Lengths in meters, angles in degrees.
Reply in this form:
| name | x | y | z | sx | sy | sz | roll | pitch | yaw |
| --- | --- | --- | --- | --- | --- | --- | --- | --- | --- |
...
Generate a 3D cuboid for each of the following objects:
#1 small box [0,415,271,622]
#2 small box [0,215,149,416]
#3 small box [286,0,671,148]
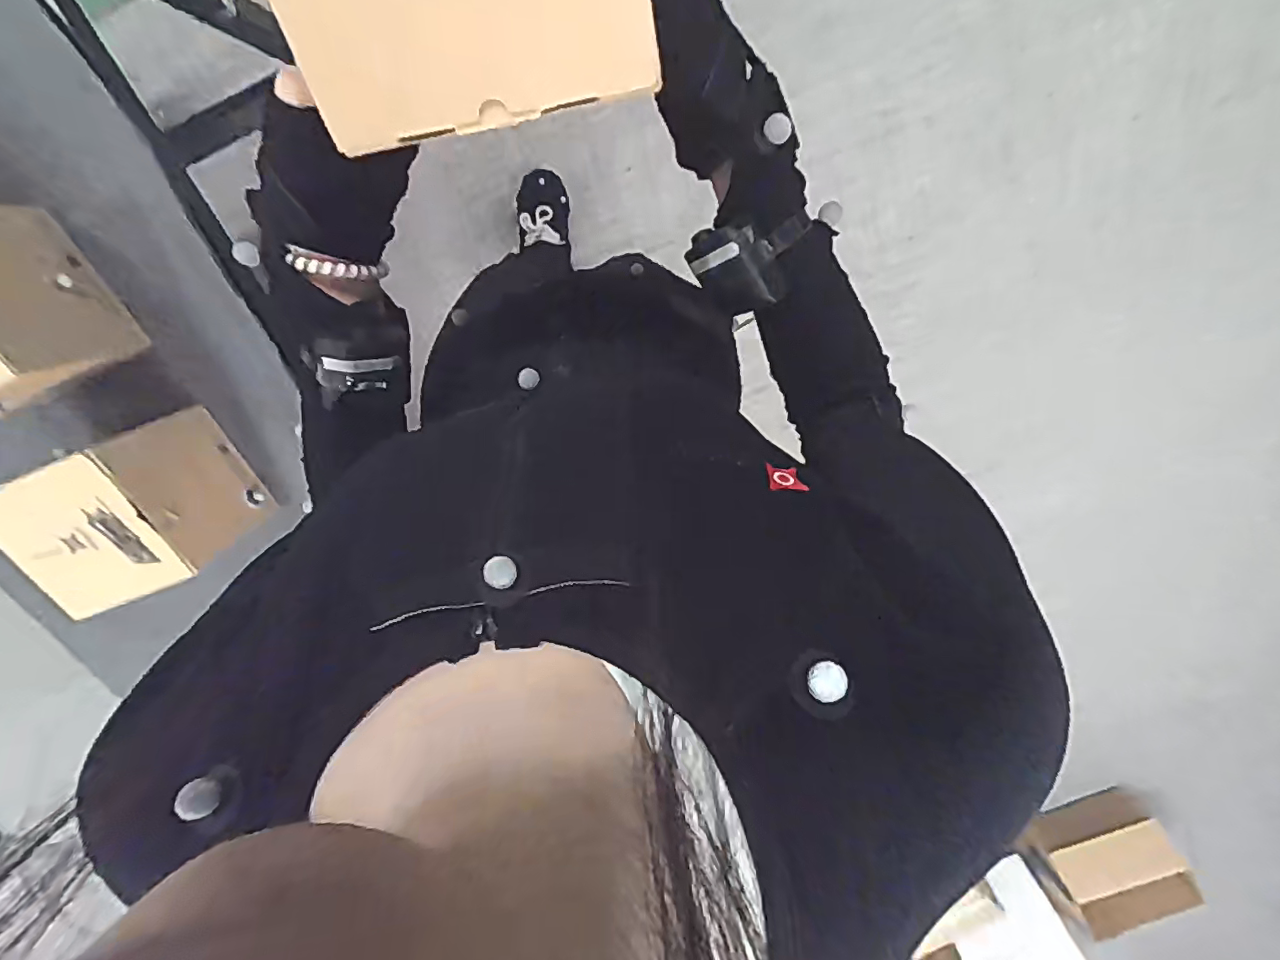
| name | x | y | z | sx | sy | sz | roll | pitch | yaw |
| --- | --- | --- | --- | --- | --- | --- | --- | --- | --- |
| small box | -0.605 | 0.038 | 0.668 | 0.179 | 0.176 | 0.168 | -20 | 113 | 8 |
| small box | -0.700 | -0.164 | 0.573 | 0.179 | 0.176 | 0.168 | -22 | 113 | 8 |
| small box | -0.082 | -0.294 | 0.273 | 0.168 | 0.176 | 0.179 | -9 | 131 | 4 |
